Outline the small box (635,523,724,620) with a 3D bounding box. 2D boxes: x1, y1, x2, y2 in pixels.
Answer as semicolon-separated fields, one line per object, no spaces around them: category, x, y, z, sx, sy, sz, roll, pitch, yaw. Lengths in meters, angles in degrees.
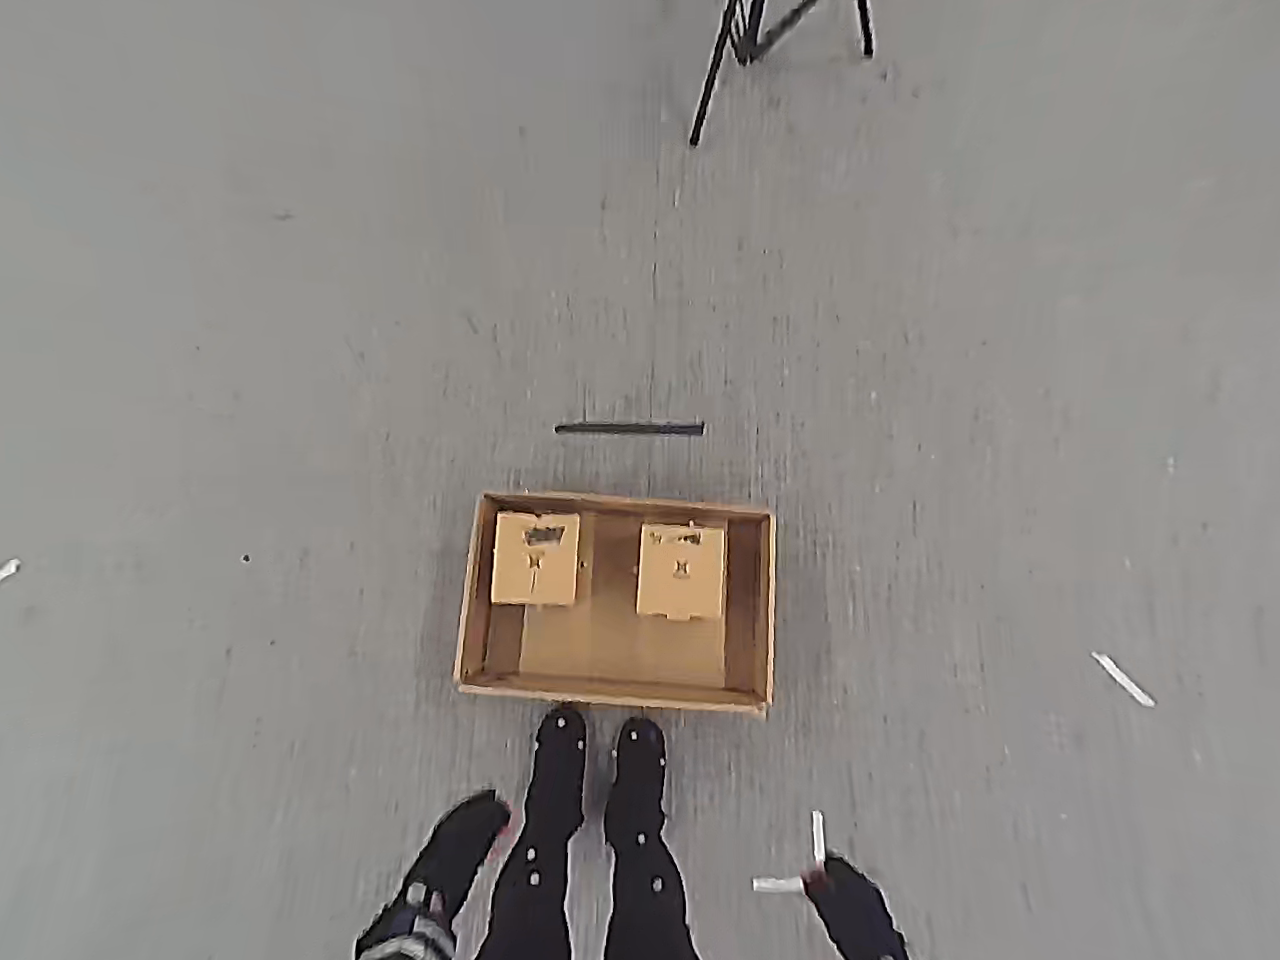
small box;0.079;0.189;1.129;0.168;0.176;0.179;4;81;1
